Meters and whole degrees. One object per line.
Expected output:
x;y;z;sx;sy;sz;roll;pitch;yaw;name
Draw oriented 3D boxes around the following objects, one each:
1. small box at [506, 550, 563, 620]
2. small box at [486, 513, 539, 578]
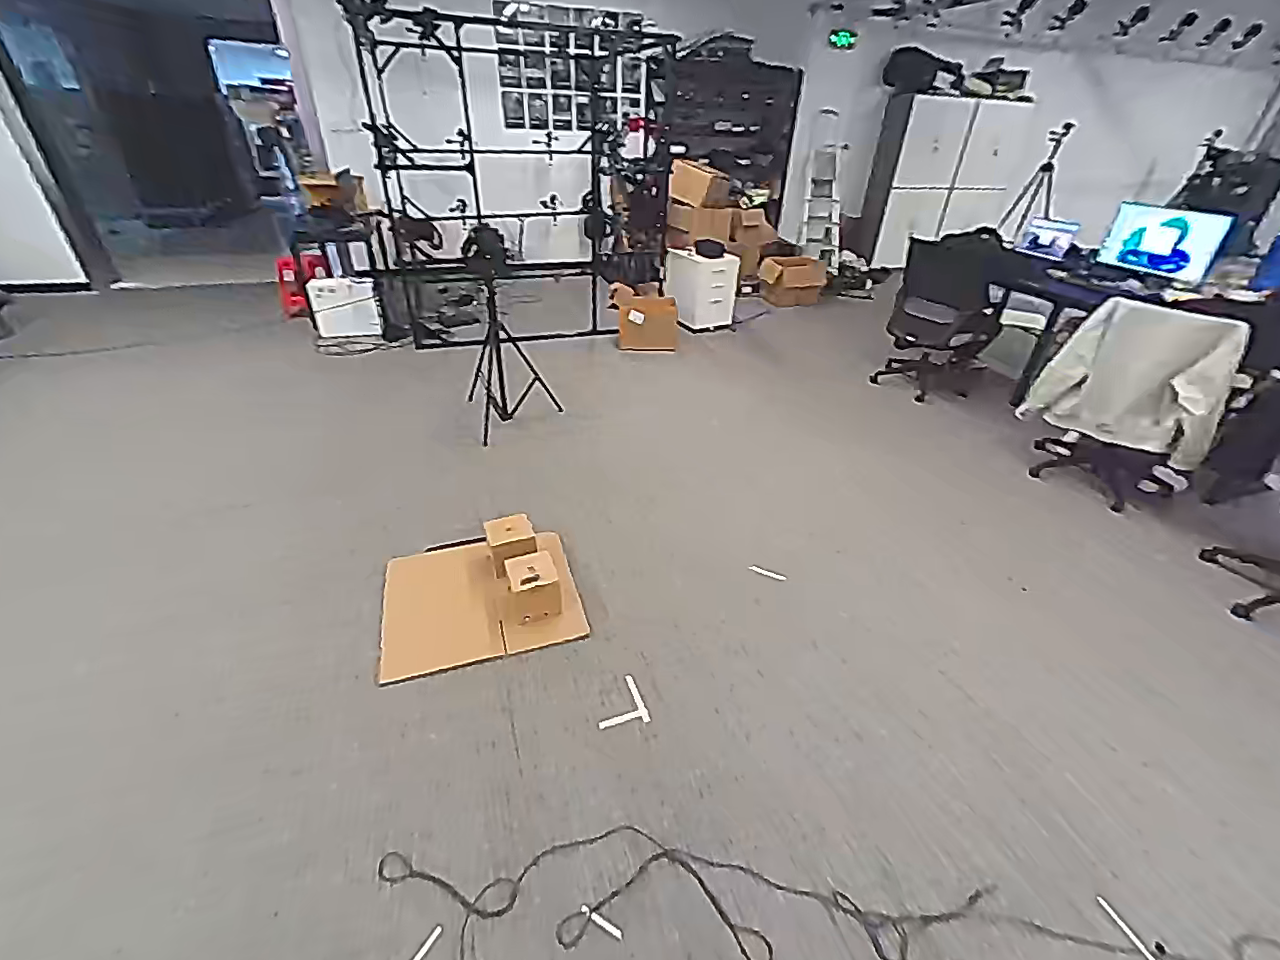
-0.382;0.389;1.972;0.168;0.176;0.179;-11;36;-19;small box
-0.506;0.262;2.162;0.179;0.176;0.168;-14;35;-21;small box
